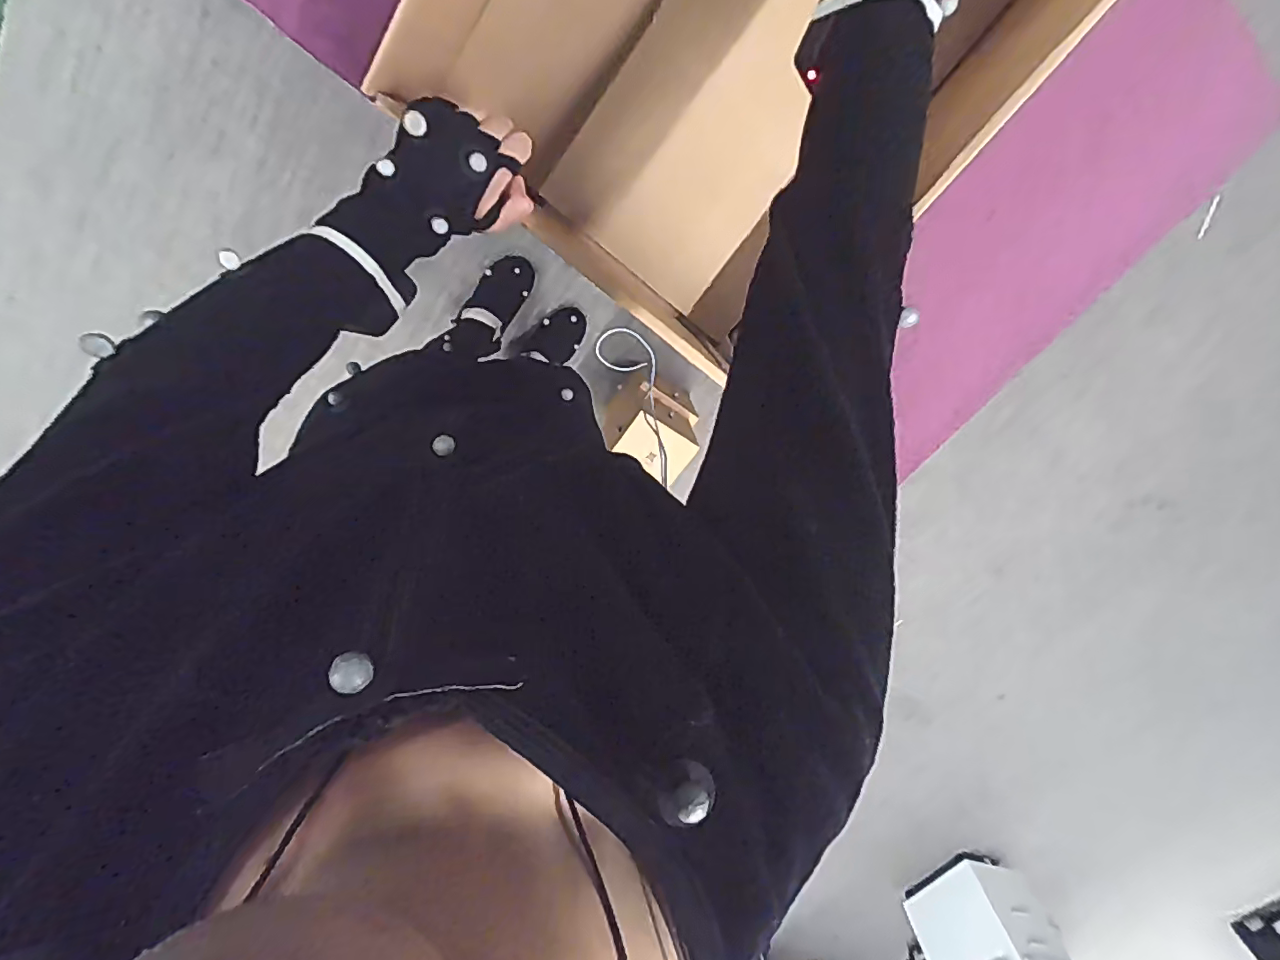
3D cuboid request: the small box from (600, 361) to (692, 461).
[{"bbox_3d":[0.011,-0.188,1.424,0.179,0.176,0.168,32,112,-20],"label":"small box"}]
